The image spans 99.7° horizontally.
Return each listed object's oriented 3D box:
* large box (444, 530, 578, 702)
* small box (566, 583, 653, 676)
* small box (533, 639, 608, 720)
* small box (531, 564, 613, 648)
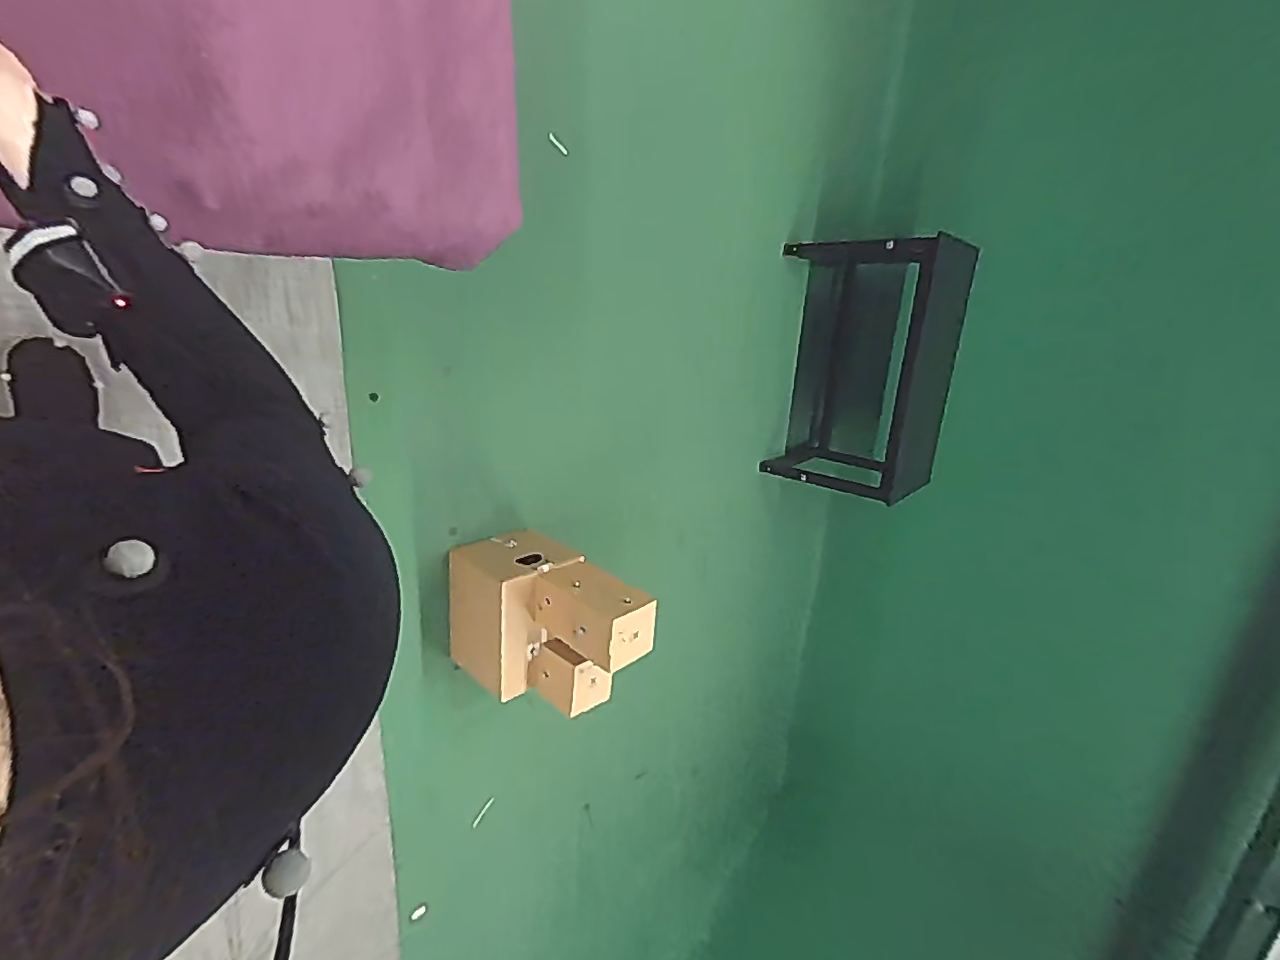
[{"bbox_3d":[-0.424,0.422,1.774,0.320,0.320,0.408,-11,113,-46],"label":"large box"},{"bbox_3d":[-0.086,0.411,1.520,0.179,0.176,0.168,-13,113,-46],"label":"small box"},{"bbox_3d":[-0.218,0.608,1.694,0.168,0.176,0.179,-5,106,-48],"label":"small box"},{"bbox_3d":[-0.205,0.369,1.627,0.179,0.176,0.168,-12,112,-46],"label":"small box"}]
